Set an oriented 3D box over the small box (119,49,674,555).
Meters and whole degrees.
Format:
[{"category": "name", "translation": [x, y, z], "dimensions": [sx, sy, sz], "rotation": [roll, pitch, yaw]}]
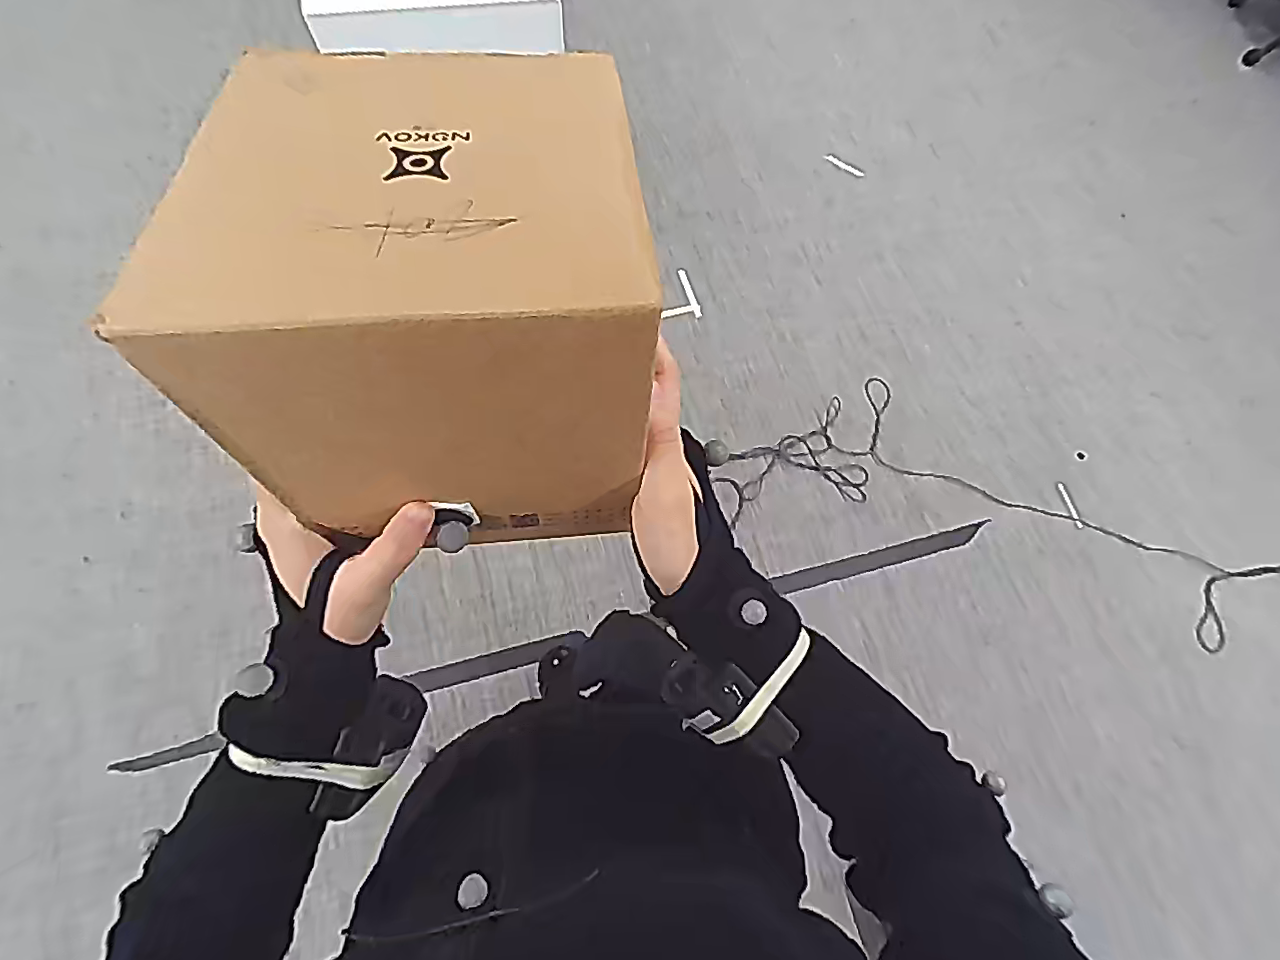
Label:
[{"category": "small box", "translation": [-0.084, -0.081, 0.273], "dimensions": [0.168, 0.176, 0.179], "rotation": [-6, 60, -6]}]
